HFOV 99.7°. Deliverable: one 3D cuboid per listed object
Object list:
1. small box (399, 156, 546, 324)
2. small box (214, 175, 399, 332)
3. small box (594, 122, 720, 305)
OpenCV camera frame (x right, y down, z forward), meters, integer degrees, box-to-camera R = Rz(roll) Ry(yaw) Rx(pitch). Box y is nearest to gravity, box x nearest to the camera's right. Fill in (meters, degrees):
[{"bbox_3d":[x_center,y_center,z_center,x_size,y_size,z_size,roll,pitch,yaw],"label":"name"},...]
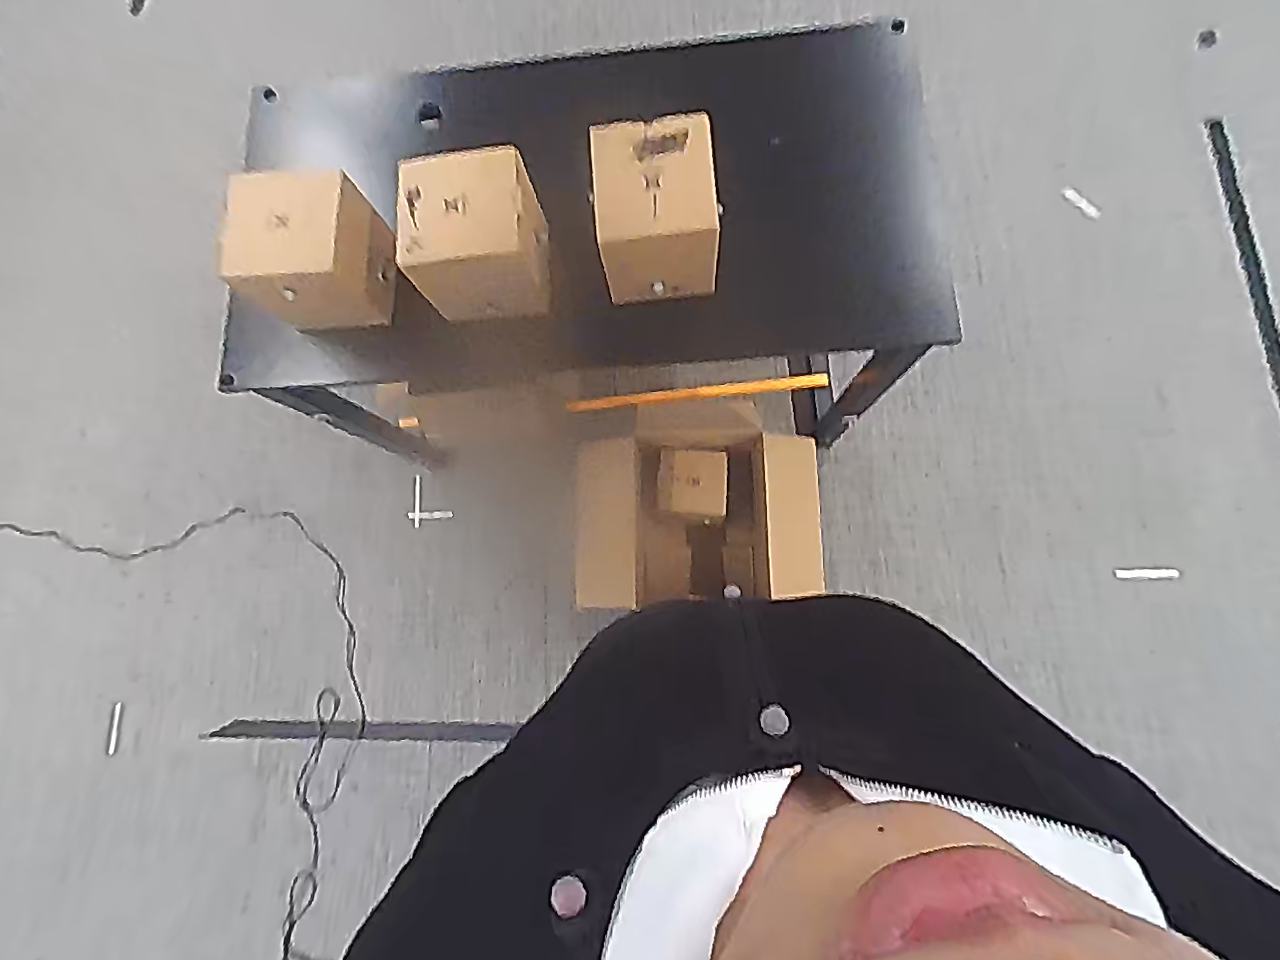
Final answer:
[{"bbox_3d":[-0.244,-0.356,0.827,0.179,0.176,0.168,-4,78,3],"label":"small box"},{"bbox_3d":[-0.506,-0.343,0.846,0.179,0.176,0.168,-1,79,4],"label":"small box"},{"bbox_3d":[0.026,-0.388,0.809,0.168,0.176,0.179,-5,79,4],"label":"small box"}]
